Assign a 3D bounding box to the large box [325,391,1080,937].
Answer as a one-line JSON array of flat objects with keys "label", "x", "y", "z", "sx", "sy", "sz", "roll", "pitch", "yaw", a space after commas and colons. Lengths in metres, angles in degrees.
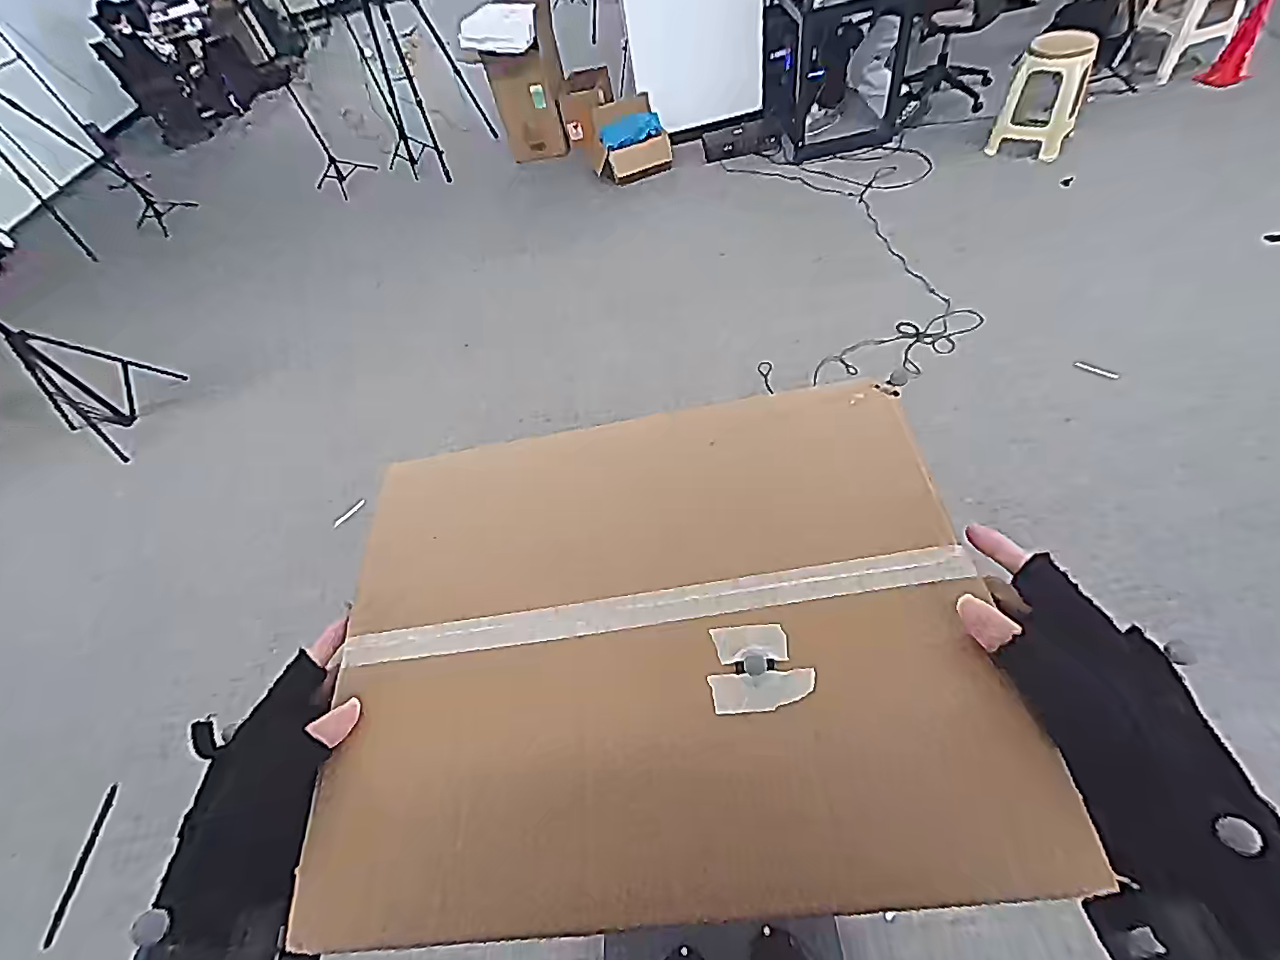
[{"label": "large box", "x": 0.032, "y": 0.169, "z": 0.482, "sx": 0.408, "sy": 0.320, "sz": 0.320, "roll": -9, "pitch": 57, "yaw": 6}]
